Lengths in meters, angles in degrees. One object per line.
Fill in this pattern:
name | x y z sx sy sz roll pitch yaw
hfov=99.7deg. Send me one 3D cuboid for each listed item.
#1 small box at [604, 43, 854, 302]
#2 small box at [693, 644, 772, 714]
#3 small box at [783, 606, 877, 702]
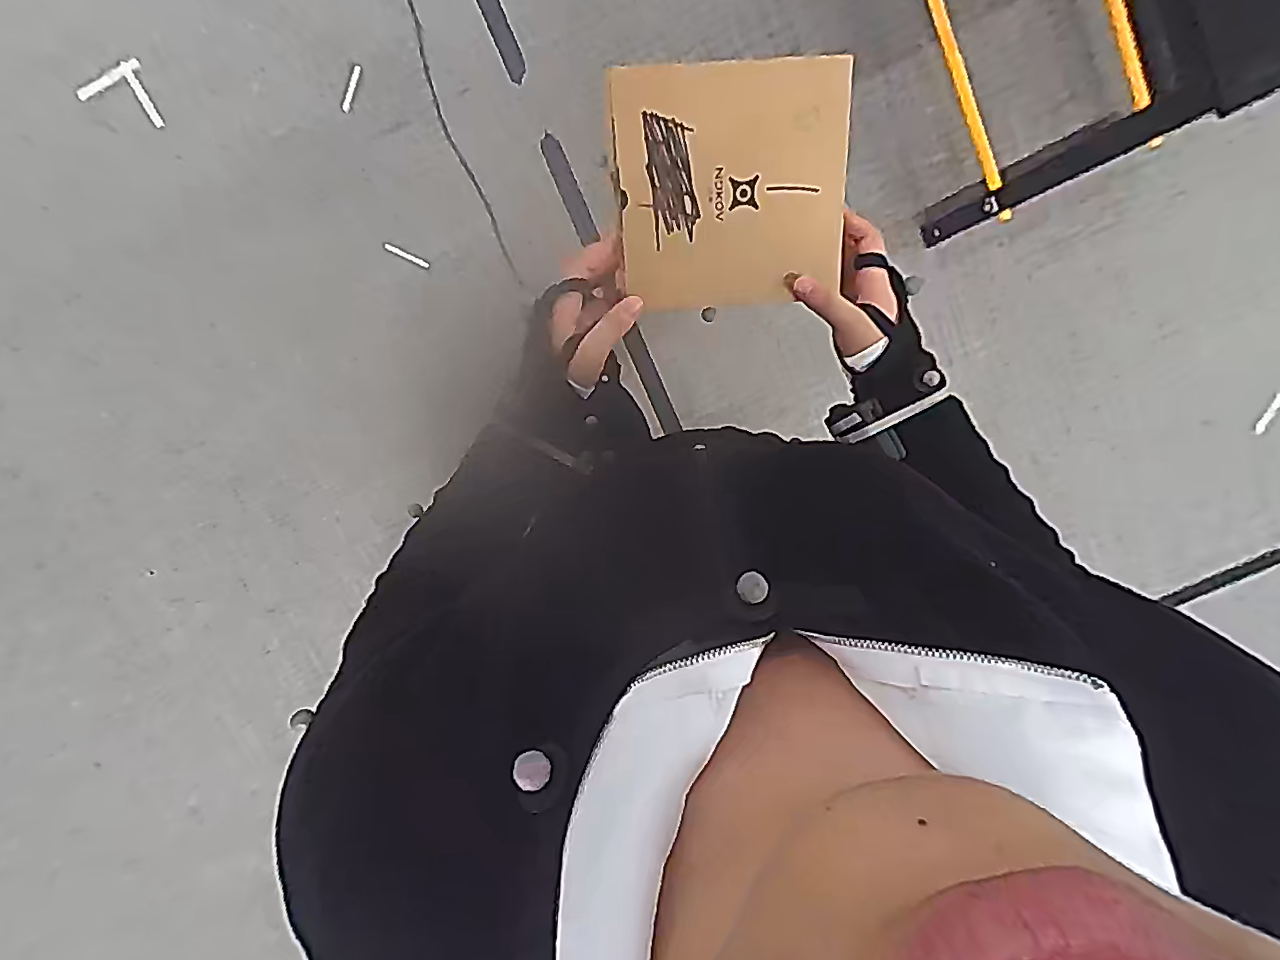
small box | 0.062 -0.247 0.472 0.179 0.176 0.168 -5 111 -3
small box | 0.257 0.591 1.505 0.179 0.176 0.168 -26 99 4
small box | 0.514 0.465 1.484 0.168 0.176 0.179 -23 99 3
